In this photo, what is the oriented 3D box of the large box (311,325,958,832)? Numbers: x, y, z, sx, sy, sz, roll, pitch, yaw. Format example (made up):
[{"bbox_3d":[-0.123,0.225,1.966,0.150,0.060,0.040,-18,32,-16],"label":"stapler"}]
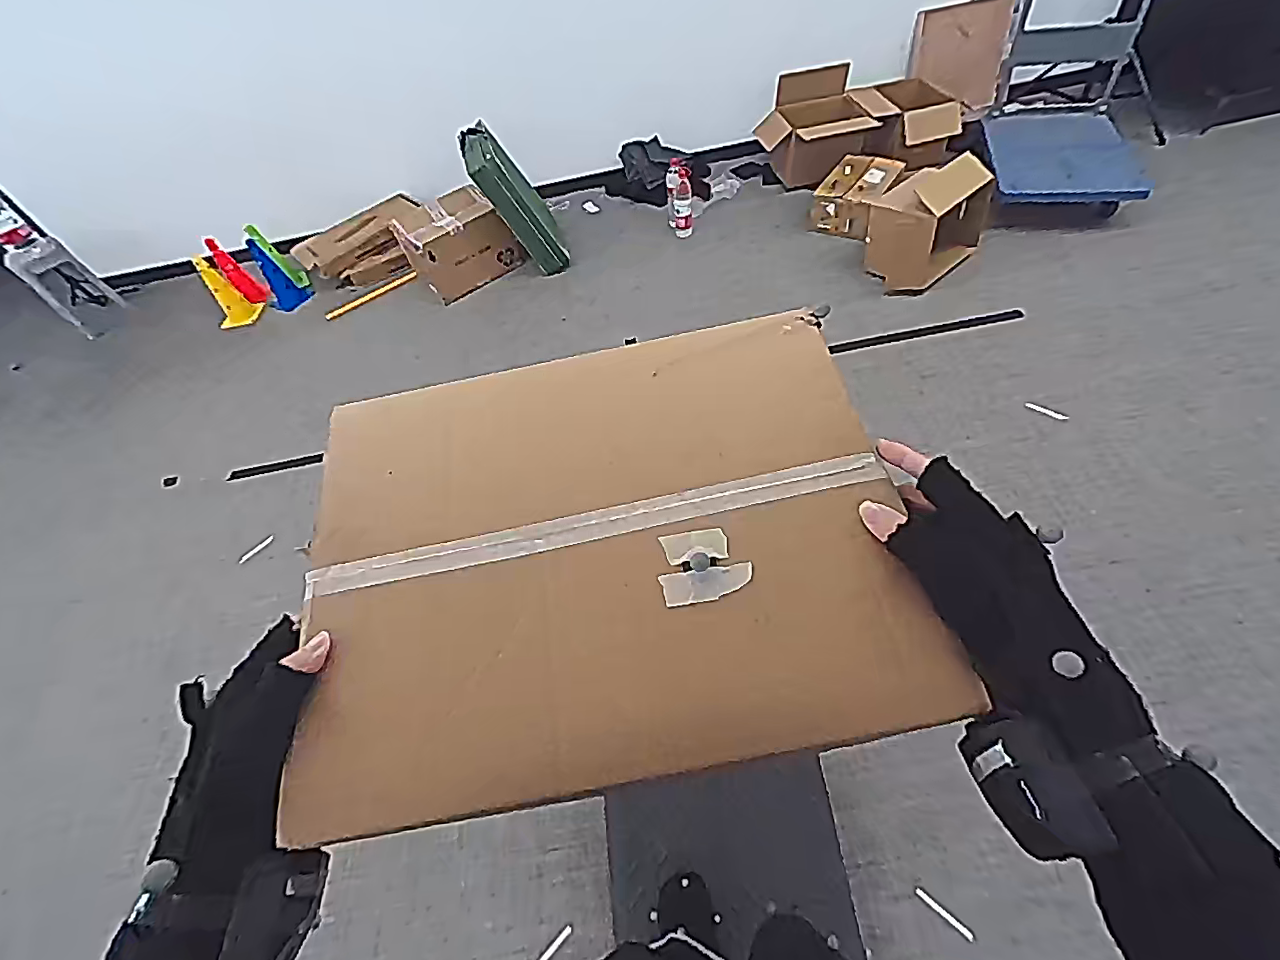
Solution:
[{"bbox_3d":[-0.015,0.108,0.521,0.408,0.320,0.320,-12,61,1],"label":"large box"}]
